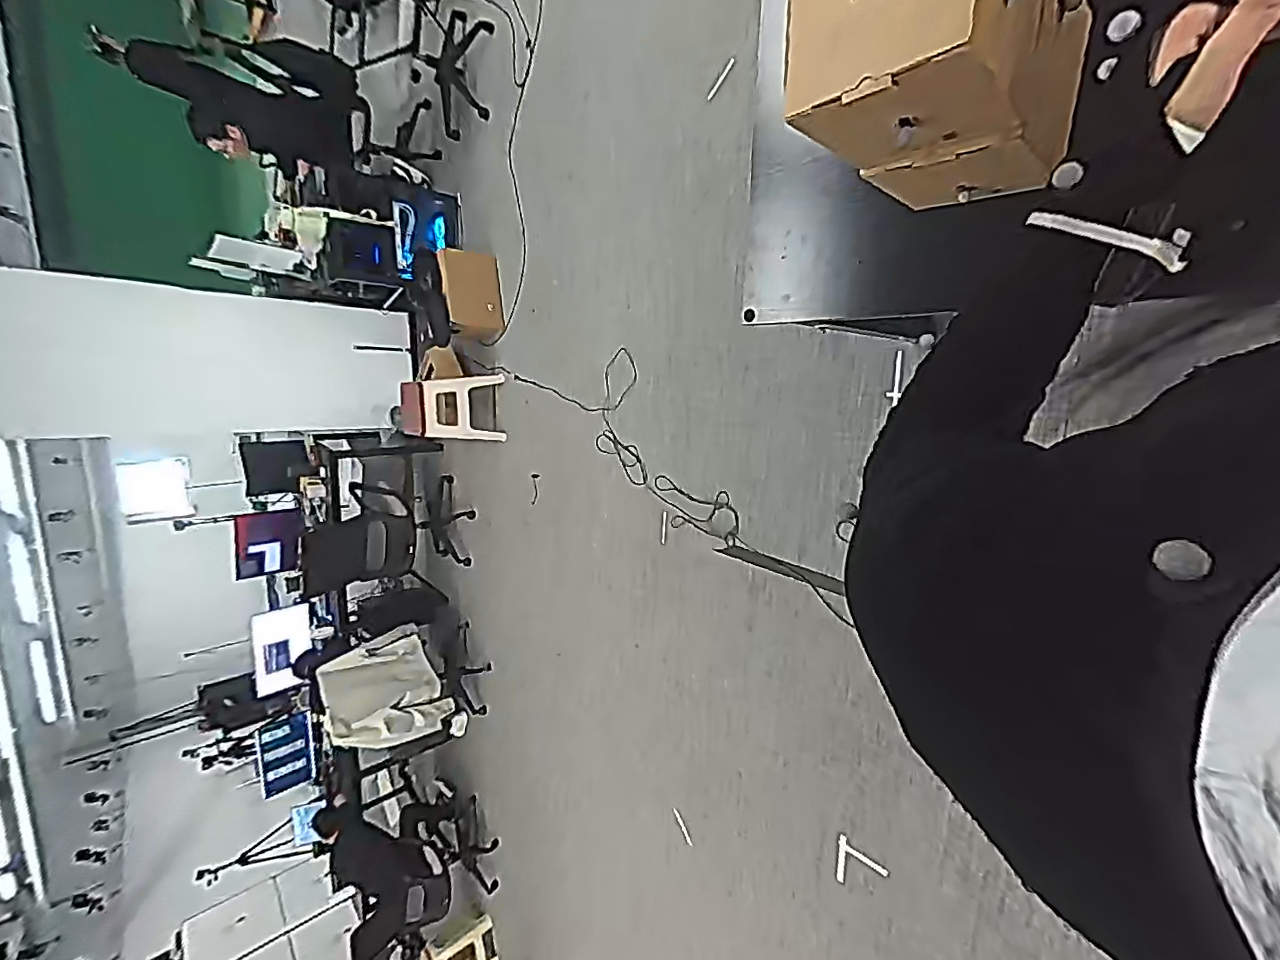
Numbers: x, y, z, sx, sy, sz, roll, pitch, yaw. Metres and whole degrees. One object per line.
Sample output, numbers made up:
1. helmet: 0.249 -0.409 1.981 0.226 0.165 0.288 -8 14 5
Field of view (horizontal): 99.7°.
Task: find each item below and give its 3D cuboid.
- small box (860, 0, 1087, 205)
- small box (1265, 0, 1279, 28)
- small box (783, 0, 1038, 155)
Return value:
1. small box: 0.379 -0.438 0.615 0.168 0.176 0.179 16 107 47
2. small box: 0.445 -0.355 0.257 0.168 0.176 0.179 18 123 42
3. small box: 0.255 -0.432 0.507 0.168 0.176 0.179 11 105 47
